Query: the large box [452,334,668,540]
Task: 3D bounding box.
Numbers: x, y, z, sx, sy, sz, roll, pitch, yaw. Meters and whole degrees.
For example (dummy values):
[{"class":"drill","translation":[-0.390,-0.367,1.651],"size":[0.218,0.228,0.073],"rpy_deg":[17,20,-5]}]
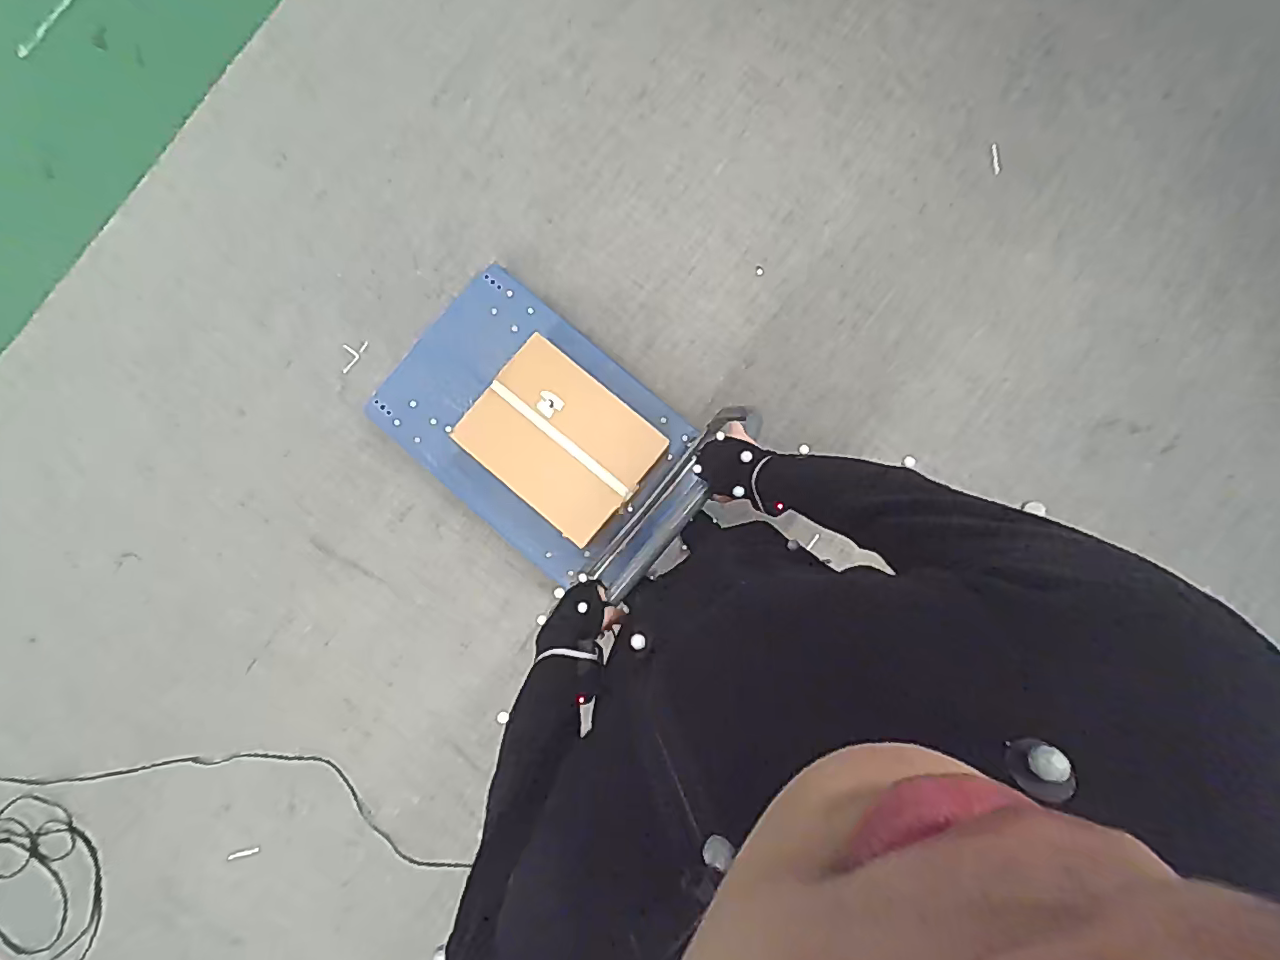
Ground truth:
[{"class":"large box","translation":[-0.176,-0.088,1.370],"size":[0.408,0.320,0.320],"rpy_deg":[40,87,6]}]
